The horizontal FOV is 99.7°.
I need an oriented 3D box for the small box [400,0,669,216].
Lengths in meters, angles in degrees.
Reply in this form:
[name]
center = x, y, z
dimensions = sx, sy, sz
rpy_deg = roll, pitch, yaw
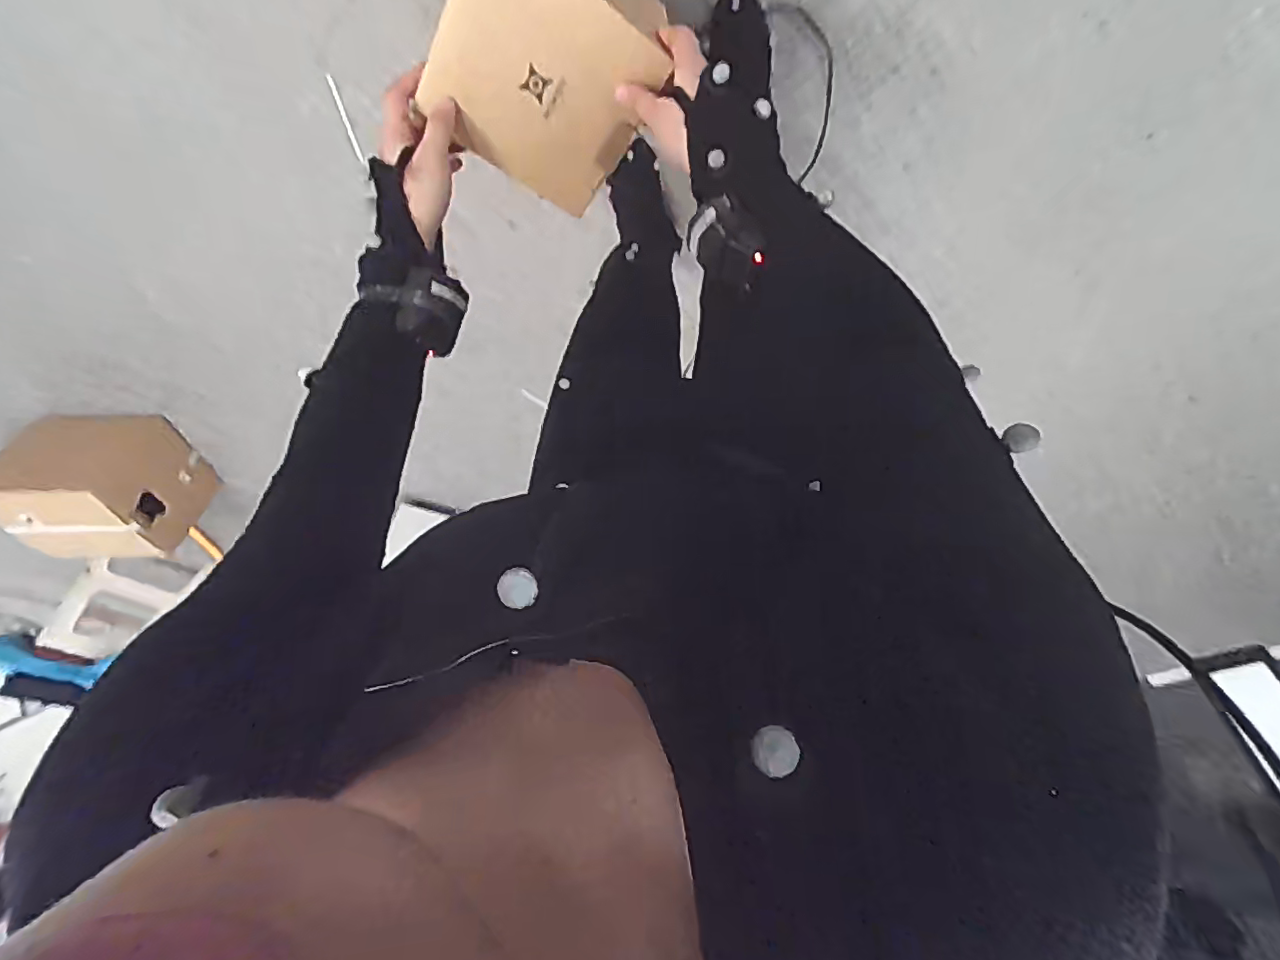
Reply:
[small box]
center = -0.096, -0.398, 0.505
dimensions = 0.179, 0.176, 0.168
rpy_deg = 21, 138, -29
